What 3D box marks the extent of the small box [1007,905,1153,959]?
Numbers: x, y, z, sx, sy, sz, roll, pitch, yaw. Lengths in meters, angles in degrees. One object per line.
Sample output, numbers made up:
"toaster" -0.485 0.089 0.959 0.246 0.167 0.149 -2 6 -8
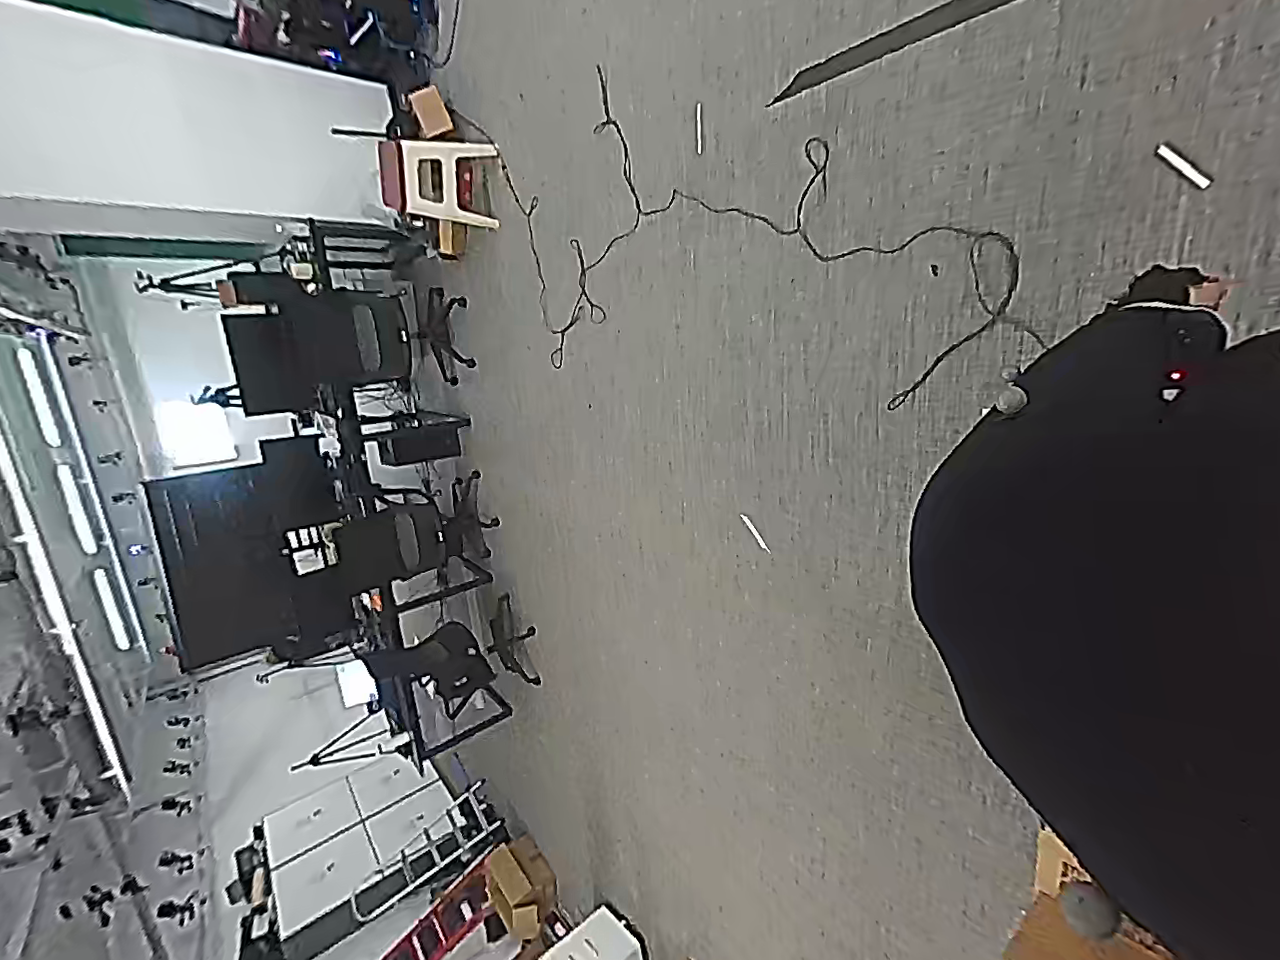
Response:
"small box" 0.672 0.793 0.808 0.179 0.176 0.168 13 111 51
